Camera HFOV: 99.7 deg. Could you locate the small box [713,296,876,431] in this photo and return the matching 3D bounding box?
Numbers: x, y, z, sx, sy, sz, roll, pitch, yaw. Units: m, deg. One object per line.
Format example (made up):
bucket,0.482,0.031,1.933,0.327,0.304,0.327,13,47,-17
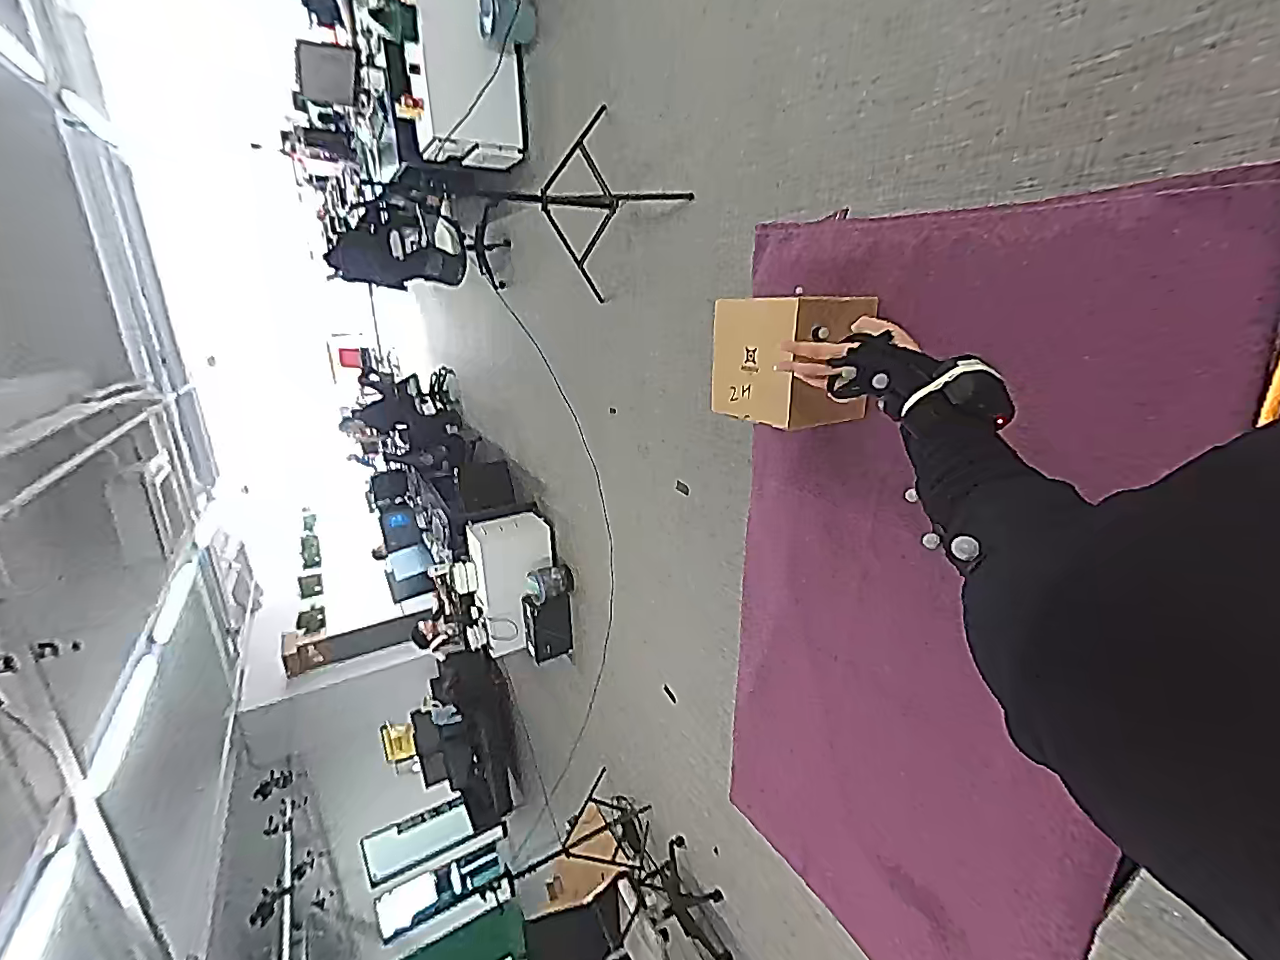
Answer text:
small box,0.229,-0.183,0.813,0.168,0.176,0.179,27,123,54
